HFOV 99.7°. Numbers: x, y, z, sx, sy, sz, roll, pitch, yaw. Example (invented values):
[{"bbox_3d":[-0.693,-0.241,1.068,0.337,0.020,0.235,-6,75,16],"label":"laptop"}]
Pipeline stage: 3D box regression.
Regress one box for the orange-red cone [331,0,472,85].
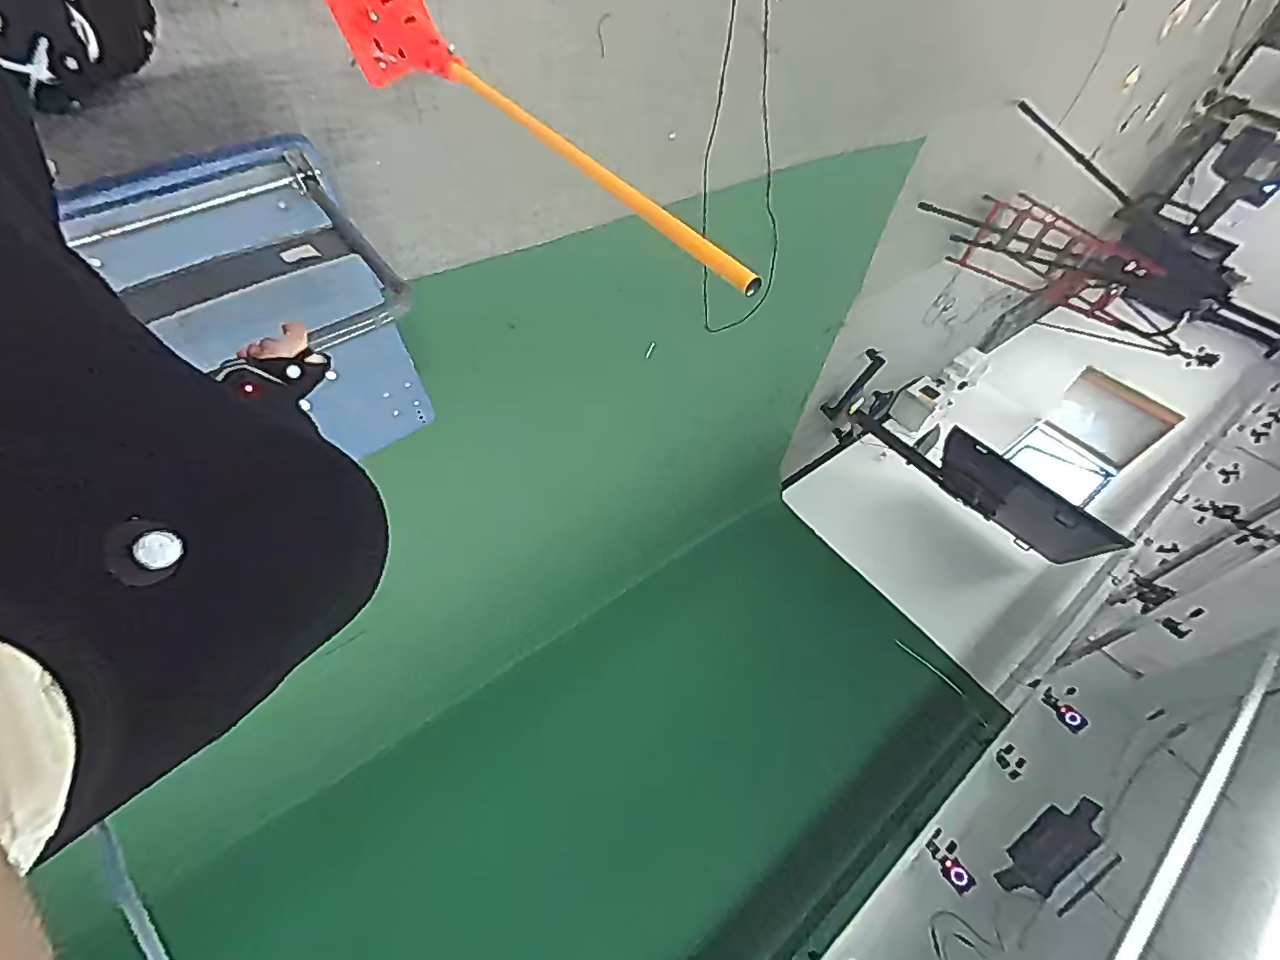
[{"bbox_3d":[-0.451,-0.906,1.124,0.199,0.360,0.198,-38,154,-13],"label":"orange-red cone"}]
